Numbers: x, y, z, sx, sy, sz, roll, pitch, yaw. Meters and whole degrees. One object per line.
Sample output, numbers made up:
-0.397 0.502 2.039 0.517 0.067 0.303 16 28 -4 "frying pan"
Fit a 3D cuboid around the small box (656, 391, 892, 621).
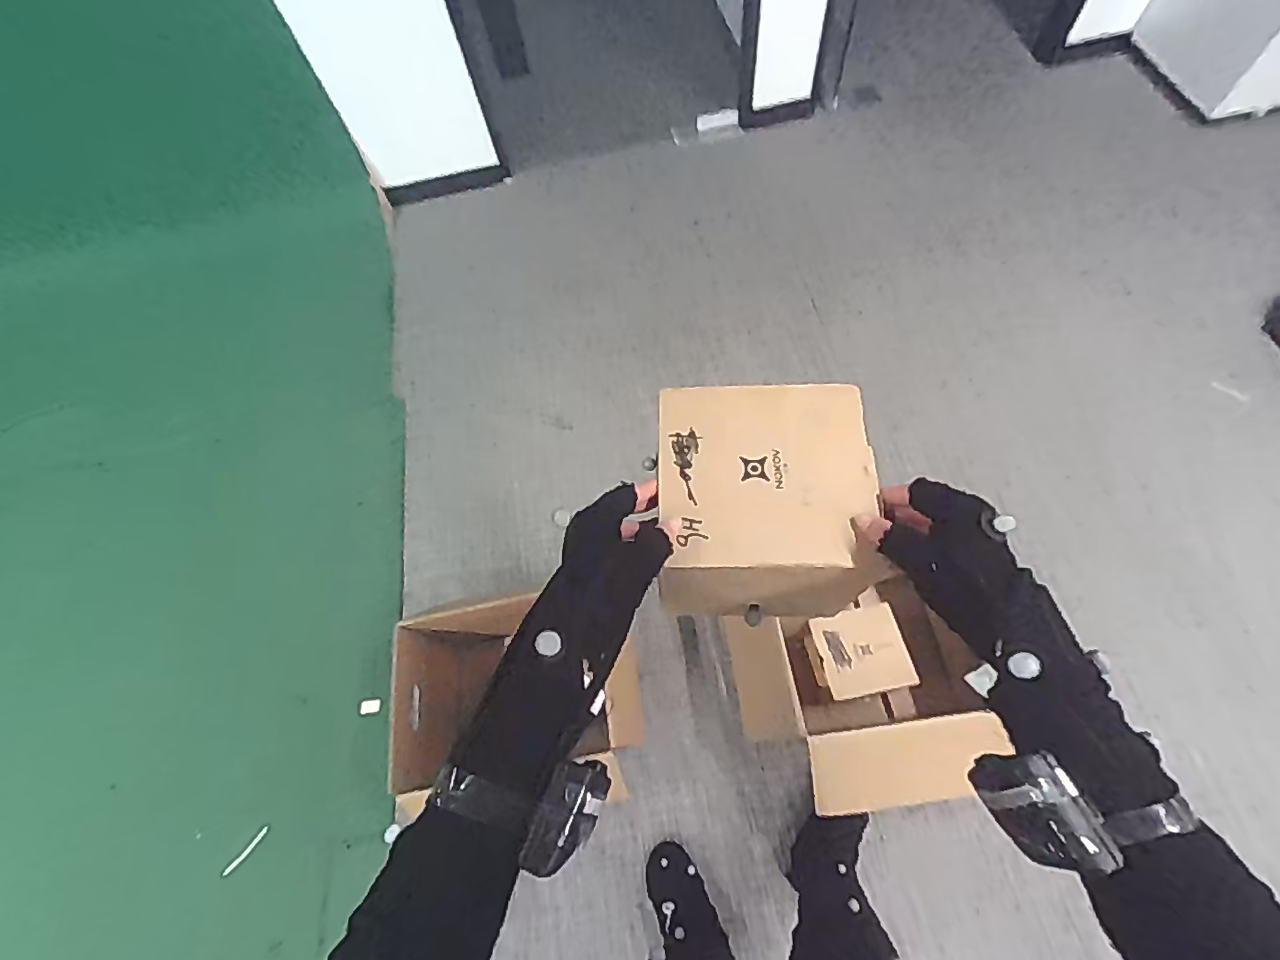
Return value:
0.104 0.032 0.507 0.179 0.176 0.168 -1 63 2 "small box"
